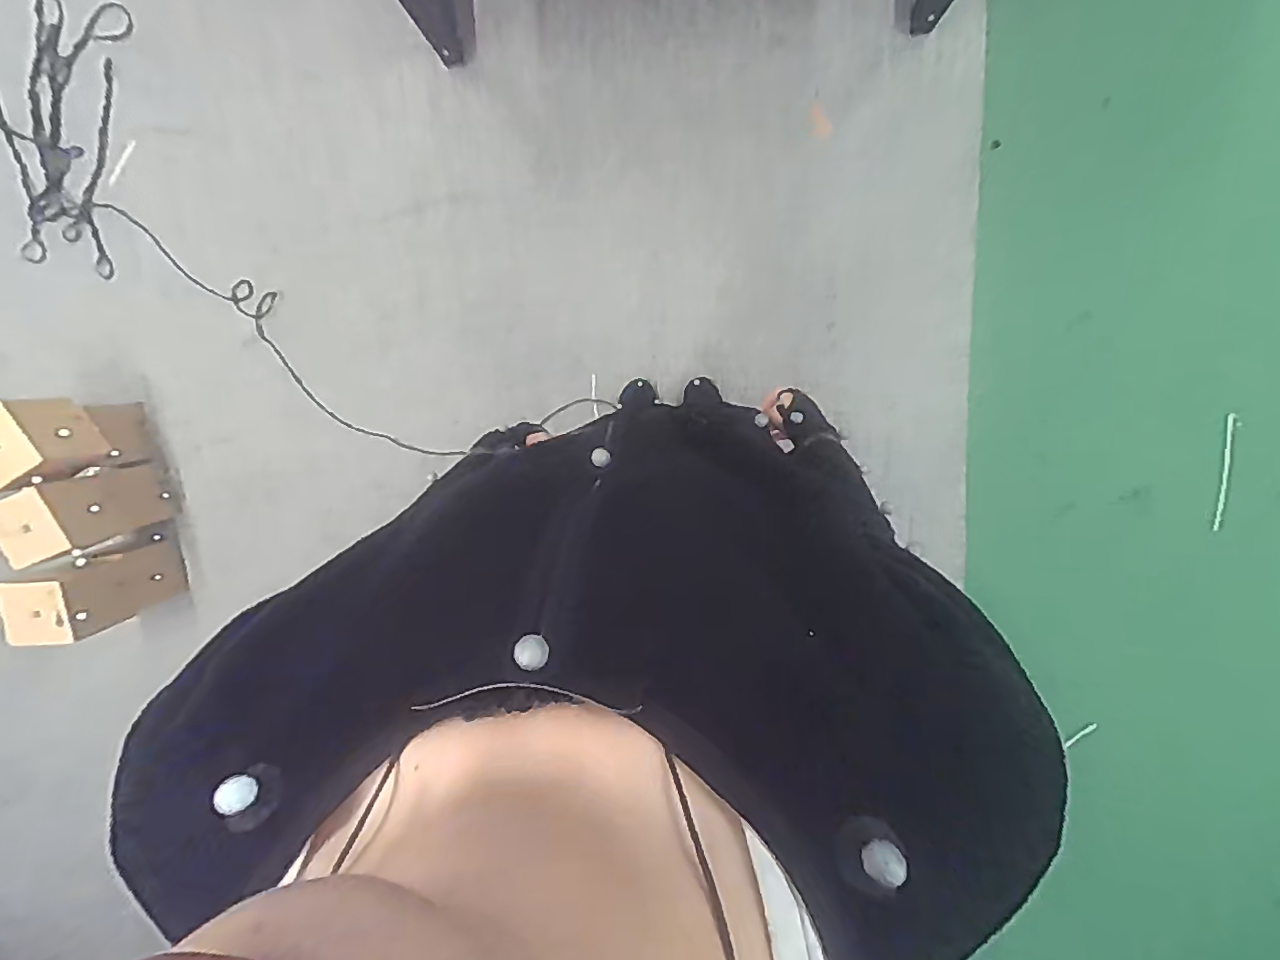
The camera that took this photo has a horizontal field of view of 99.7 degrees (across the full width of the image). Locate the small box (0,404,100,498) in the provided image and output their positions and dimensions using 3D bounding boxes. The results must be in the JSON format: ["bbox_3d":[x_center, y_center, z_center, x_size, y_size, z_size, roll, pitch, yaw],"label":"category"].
[{"bbox_3d":[-1.490,-0.076,1.319,0.179,0.176,0.168,-28,97,8],"label":"small box"}]

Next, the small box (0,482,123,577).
[{"bbox_3d":[-1.464,0.116,1.355,0.179,0.176,0.168,-21,98,7],"label":"small box"}]

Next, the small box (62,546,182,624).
[{"bbox_3d":[-1.476,0.294,1.552,0.168,0.176,0.179,-3,101,4],"label":"small box"}]
